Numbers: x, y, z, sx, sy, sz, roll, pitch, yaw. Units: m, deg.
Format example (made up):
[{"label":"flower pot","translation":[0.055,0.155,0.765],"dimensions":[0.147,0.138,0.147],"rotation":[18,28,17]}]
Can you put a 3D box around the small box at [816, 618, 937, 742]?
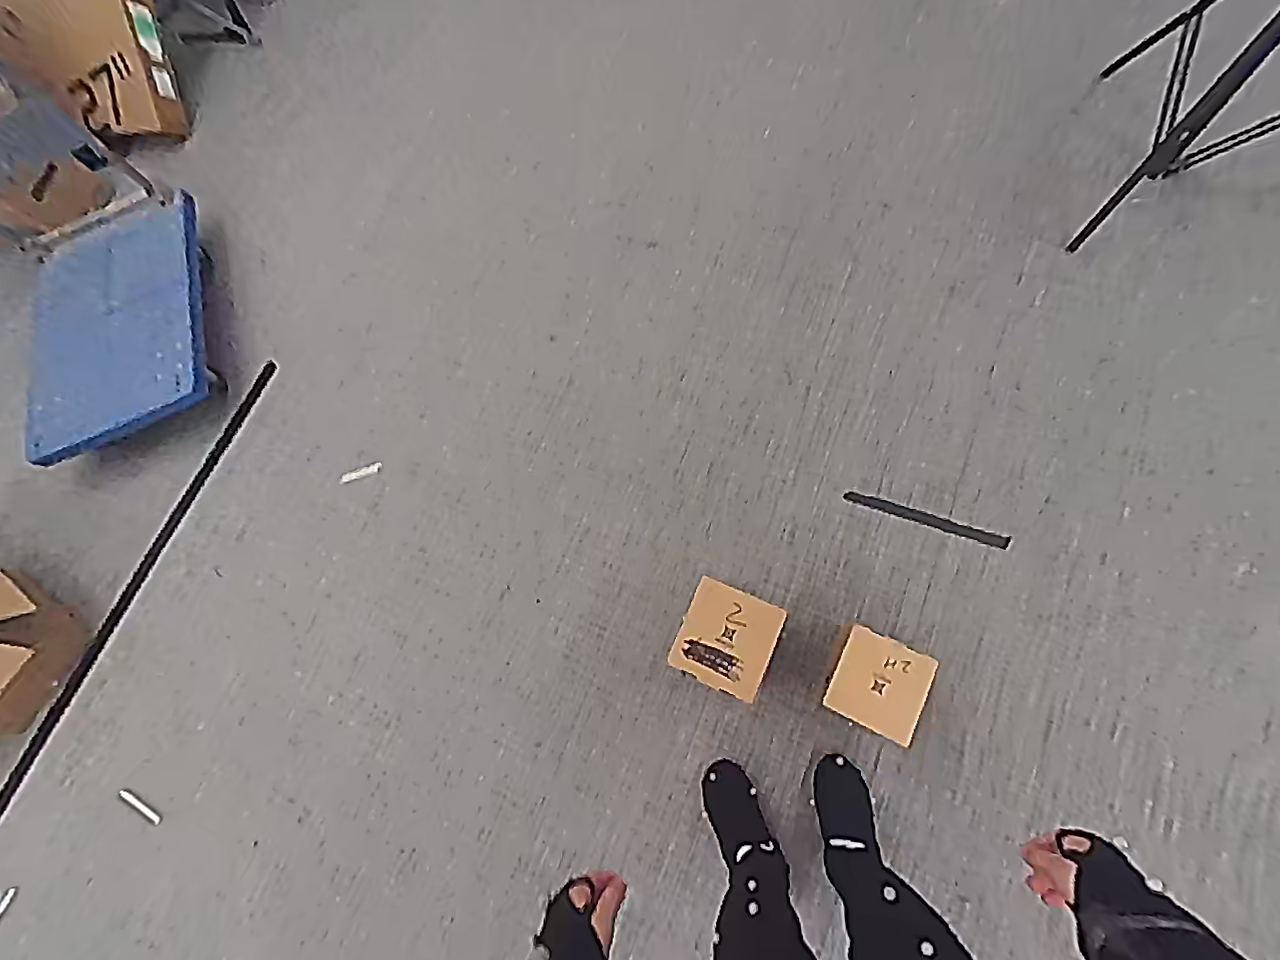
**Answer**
[{"label":"small box","translation":[0.476,0.404,1.116],"dimensions":[0.168,0.176,0.179],"rotation":[24,79,16]}]

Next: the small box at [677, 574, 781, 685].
[{"label":"small box","translation":[0.197,0.330,1.197],"dimensions":[0.168,0.176,0.179],"rotation":[23,79,17]}]
